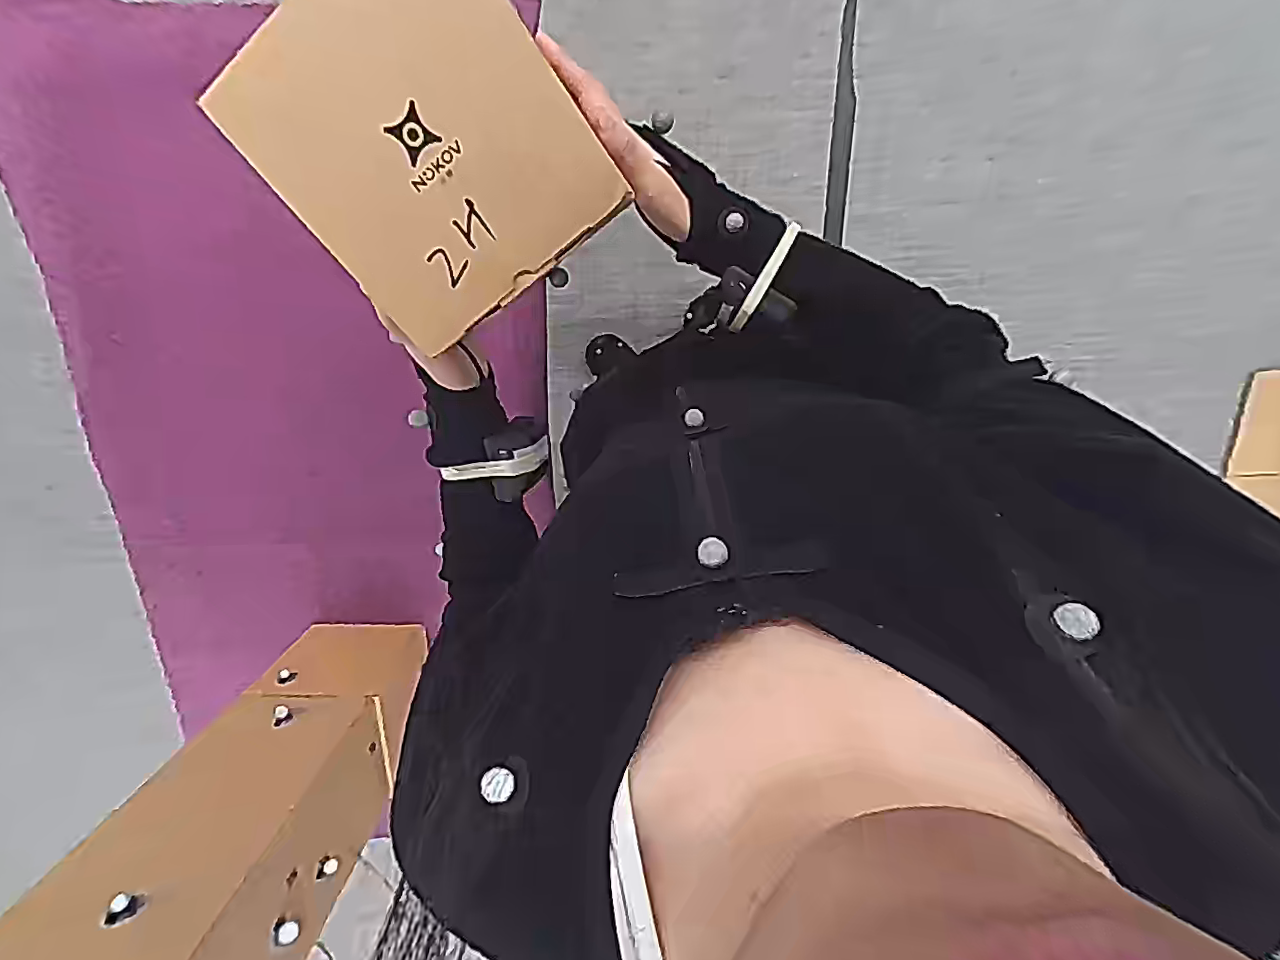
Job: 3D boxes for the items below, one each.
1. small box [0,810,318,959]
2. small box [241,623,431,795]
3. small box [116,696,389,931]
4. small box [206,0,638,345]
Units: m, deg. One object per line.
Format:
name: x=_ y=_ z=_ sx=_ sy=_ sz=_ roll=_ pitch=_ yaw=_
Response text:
small box: x=-0.415 y=0.412 z=0.459 sx=0.179 sy=0.176 sz=0.168 roll=0 pitch=107 yaw=-1
small box: x=-0.414 y=0.320 z=0.775 sx=0.179 sy=0.176 sz=0.168 roll=0 pitch=107 yaw=0
small box: x=-0.419 y=0.368 z=0.618 sx=0.179 sy=0.176 sz=0.168 roll=0 pitch=107 yaw=0
small box: x=-0.117 y=-0.223 z=0.369 sx=0.168 sy=0.176 sz=0.179 roll=-33 pitch=112 yaw=15
